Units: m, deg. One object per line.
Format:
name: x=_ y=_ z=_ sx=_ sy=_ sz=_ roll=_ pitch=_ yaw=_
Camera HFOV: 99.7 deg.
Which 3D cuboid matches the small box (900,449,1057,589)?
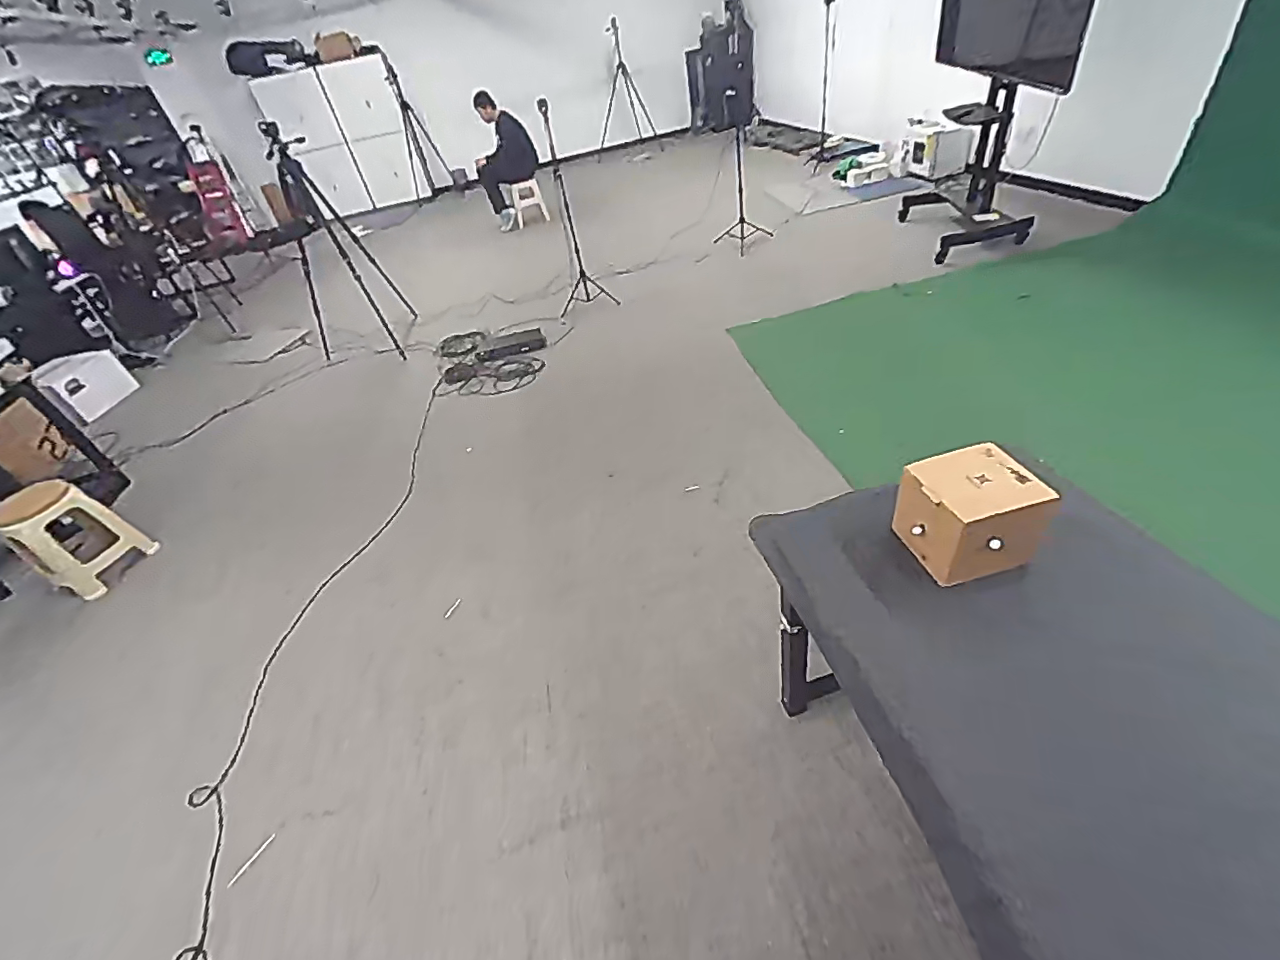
small box: x=0.601 y=0.074 z=0.991 sx=0.179 sy=0.176 sz=0.168 roll=-15 pitch=40 yaw=-3
